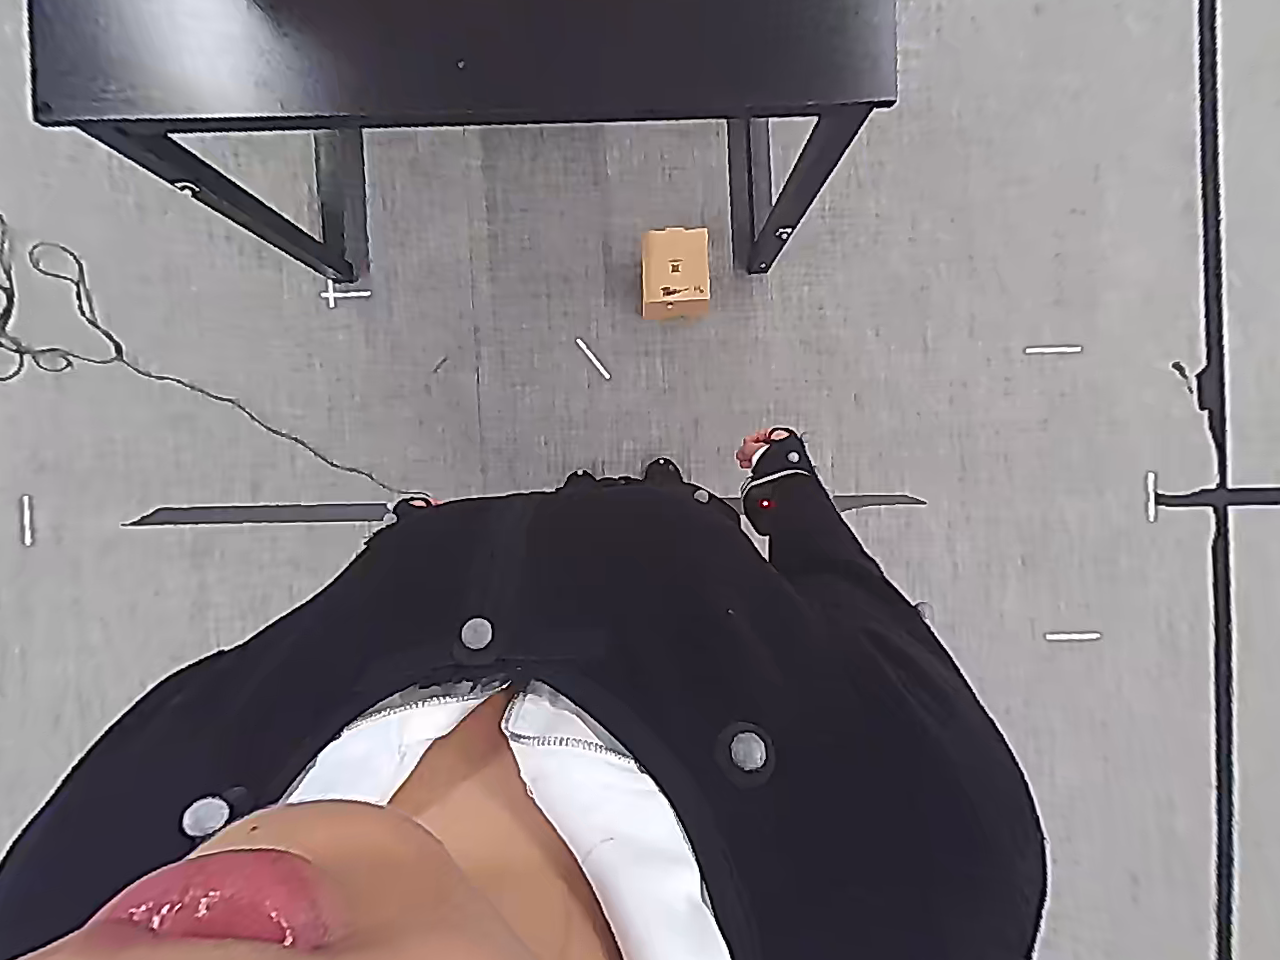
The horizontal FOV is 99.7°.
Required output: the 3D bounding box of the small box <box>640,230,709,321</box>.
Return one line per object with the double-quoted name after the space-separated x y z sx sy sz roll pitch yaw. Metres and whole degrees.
0.085 -0.526 1.405 0.168 0.176 0.179 -2 91 1 "small box"
